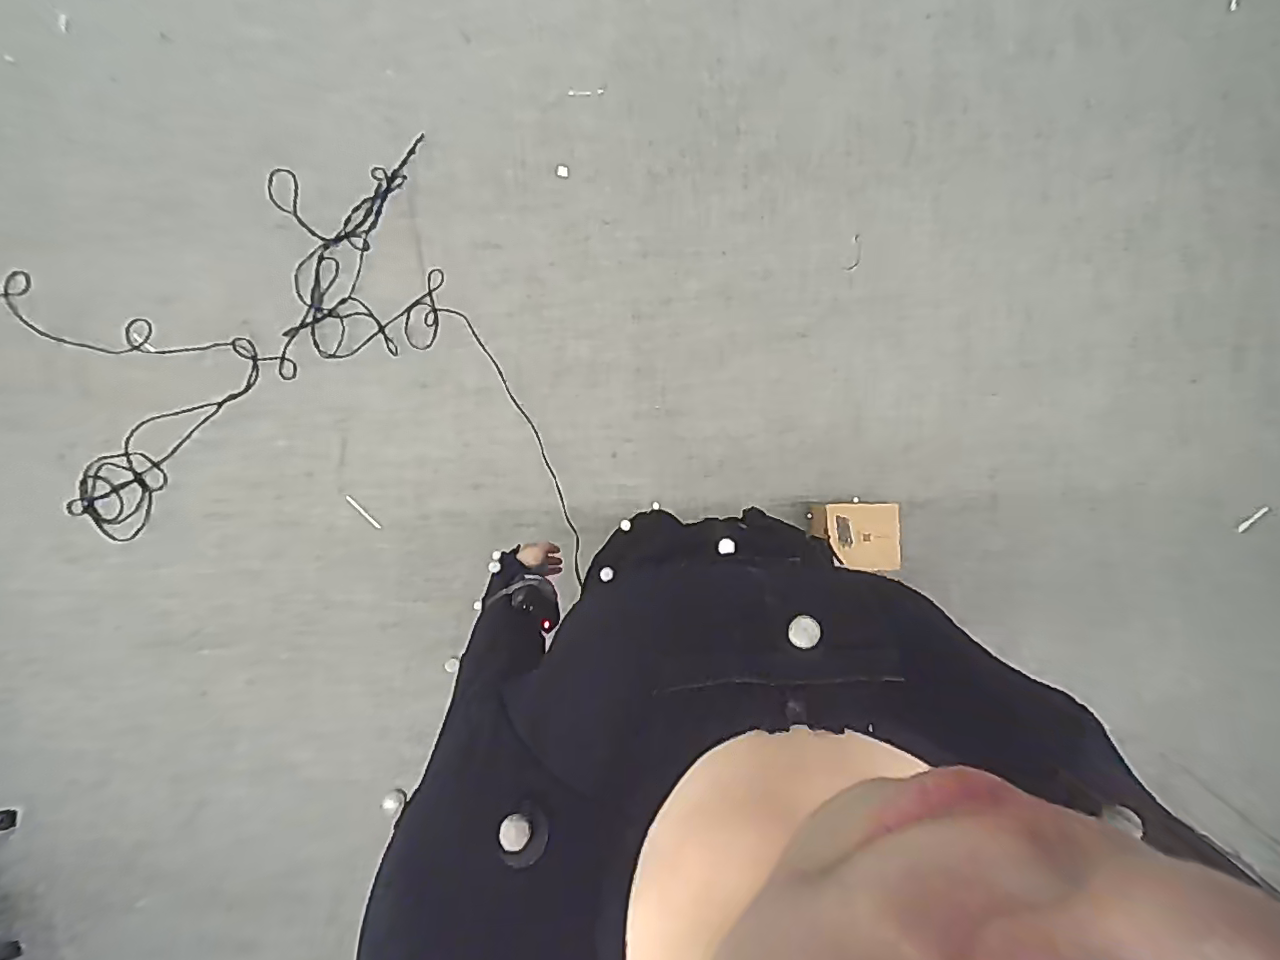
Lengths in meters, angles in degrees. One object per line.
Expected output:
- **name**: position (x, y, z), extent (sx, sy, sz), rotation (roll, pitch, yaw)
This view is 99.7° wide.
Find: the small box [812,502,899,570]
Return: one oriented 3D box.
- **small box**: position (0.547, 0.140, 1.395), extent (0.179, 0.176, 0.168), rotation (-1, 88, 3)
